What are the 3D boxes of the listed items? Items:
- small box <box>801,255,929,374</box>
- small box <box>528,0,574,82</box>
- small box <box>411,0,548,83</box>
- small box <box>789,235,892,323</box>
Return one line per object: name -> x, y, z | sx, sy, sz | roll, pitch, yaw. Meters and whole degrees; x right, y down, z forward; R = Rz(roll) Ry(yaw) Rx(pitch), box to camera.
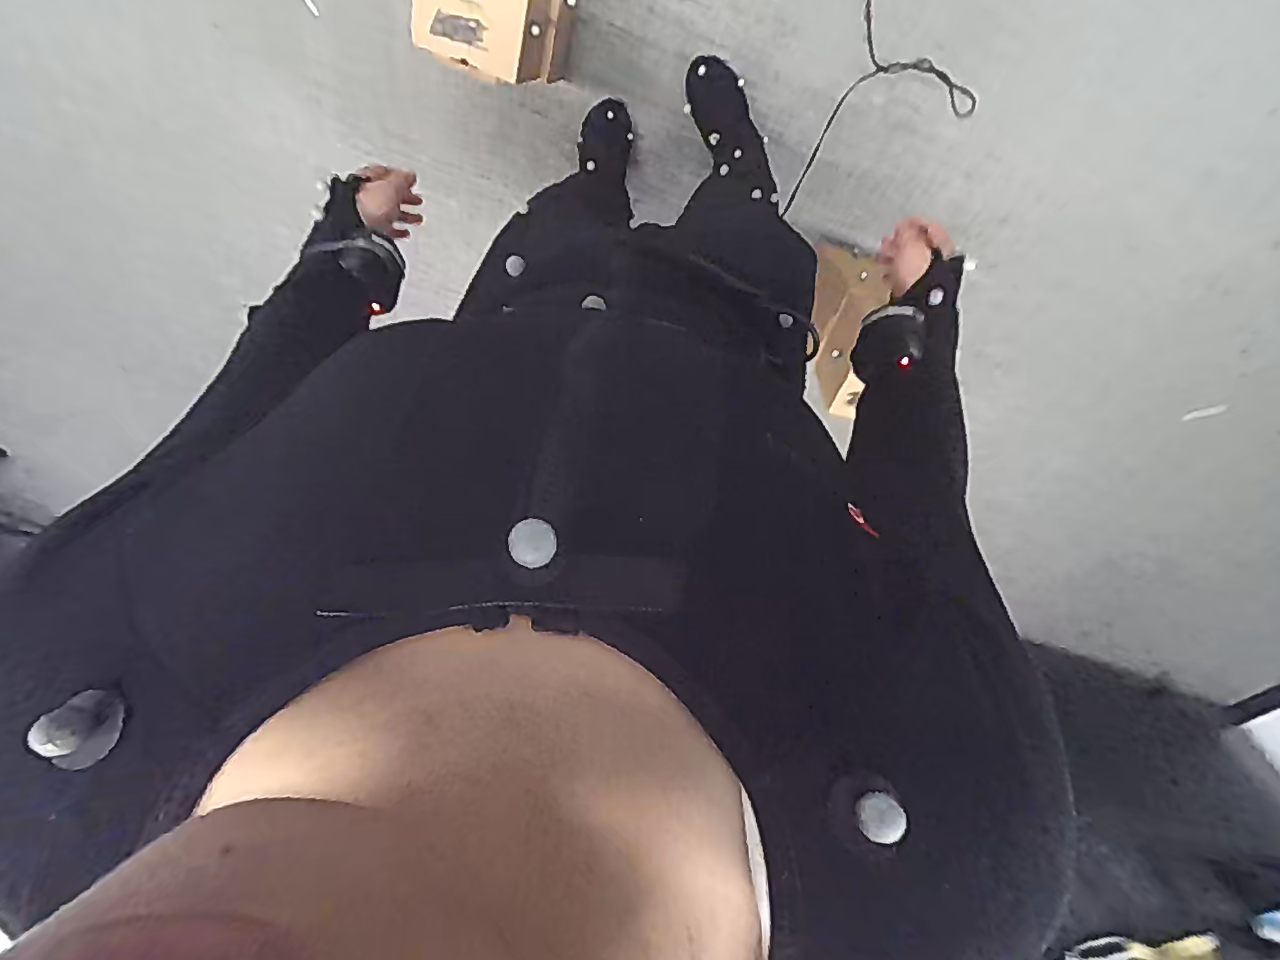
small box -> 0.463, -0.356, 1.148 | 0.179, 0.176, 0.168 | 12, 132, -8
small box -> -0.218, -0.858, 0.979 | 0.168, 0.176, 0.179 | 15, 130, -8
small box -> -0.242, -0.761, 0.848 | 0.168, 0.176, 0.179 | 16, 129, -9
small box -> 0.471, -0.455, 1.277 | 0.179, 0.176, 0.168 | 16, 131, -8
